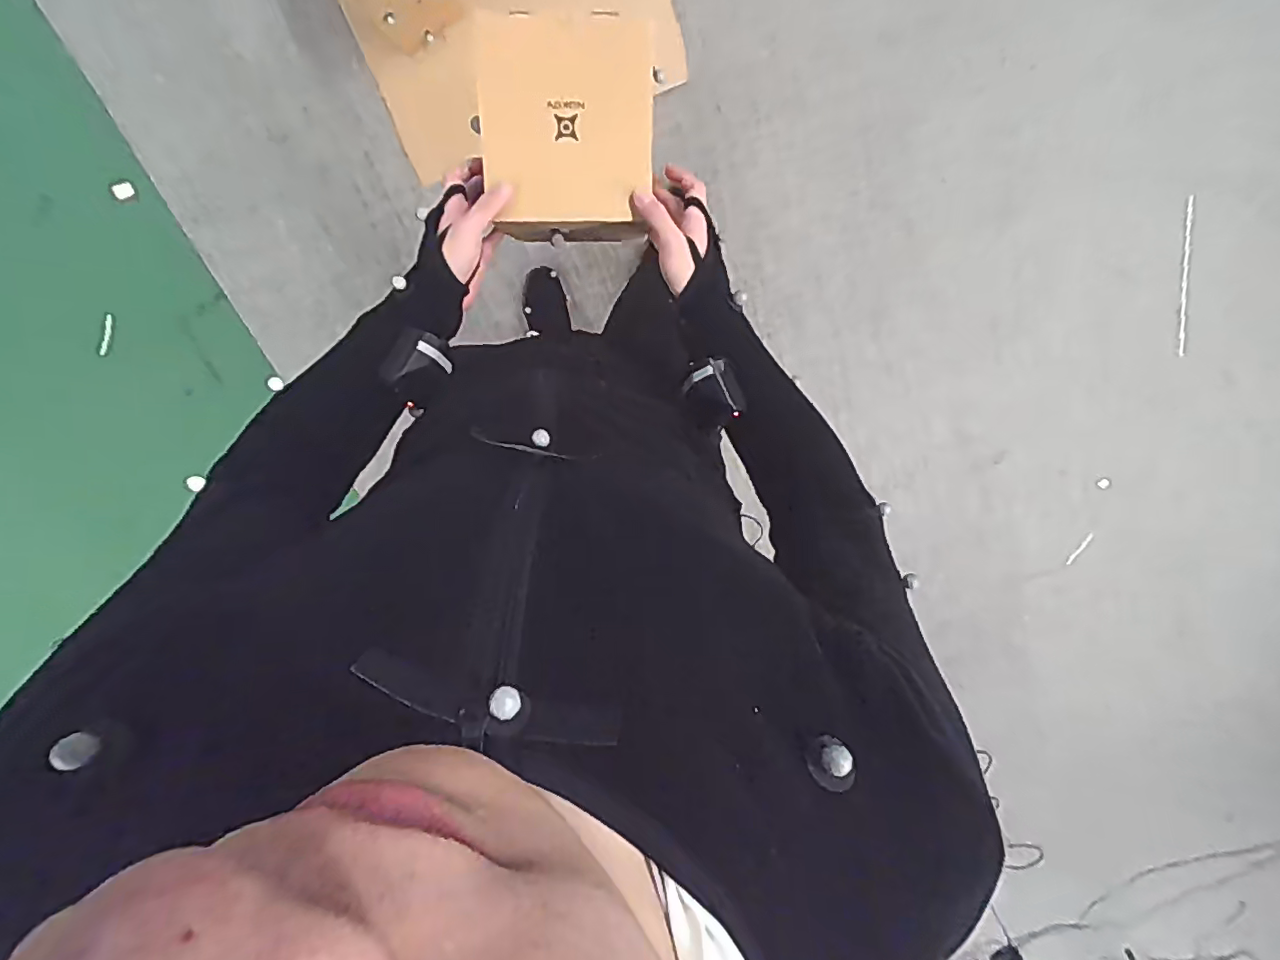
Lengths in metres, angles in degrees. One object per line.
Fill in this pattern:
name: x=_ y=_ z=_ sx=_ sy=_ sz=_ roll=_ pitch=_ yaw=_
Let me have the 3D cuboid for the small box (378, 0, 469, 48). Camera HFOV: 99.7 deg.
small box: x=-0.472 y=-1.024 z=1.085 sx=0.168 sy=0.176 sz=0.179 roll=-26 pitch=114 yaw=7

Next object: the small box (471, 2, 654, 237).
small box: x=-0.069 y=-0.364 z=0.581 sx=0.168 sy=0.176 sz=0.179 roll=-1 pitch=106 yaw=-1
